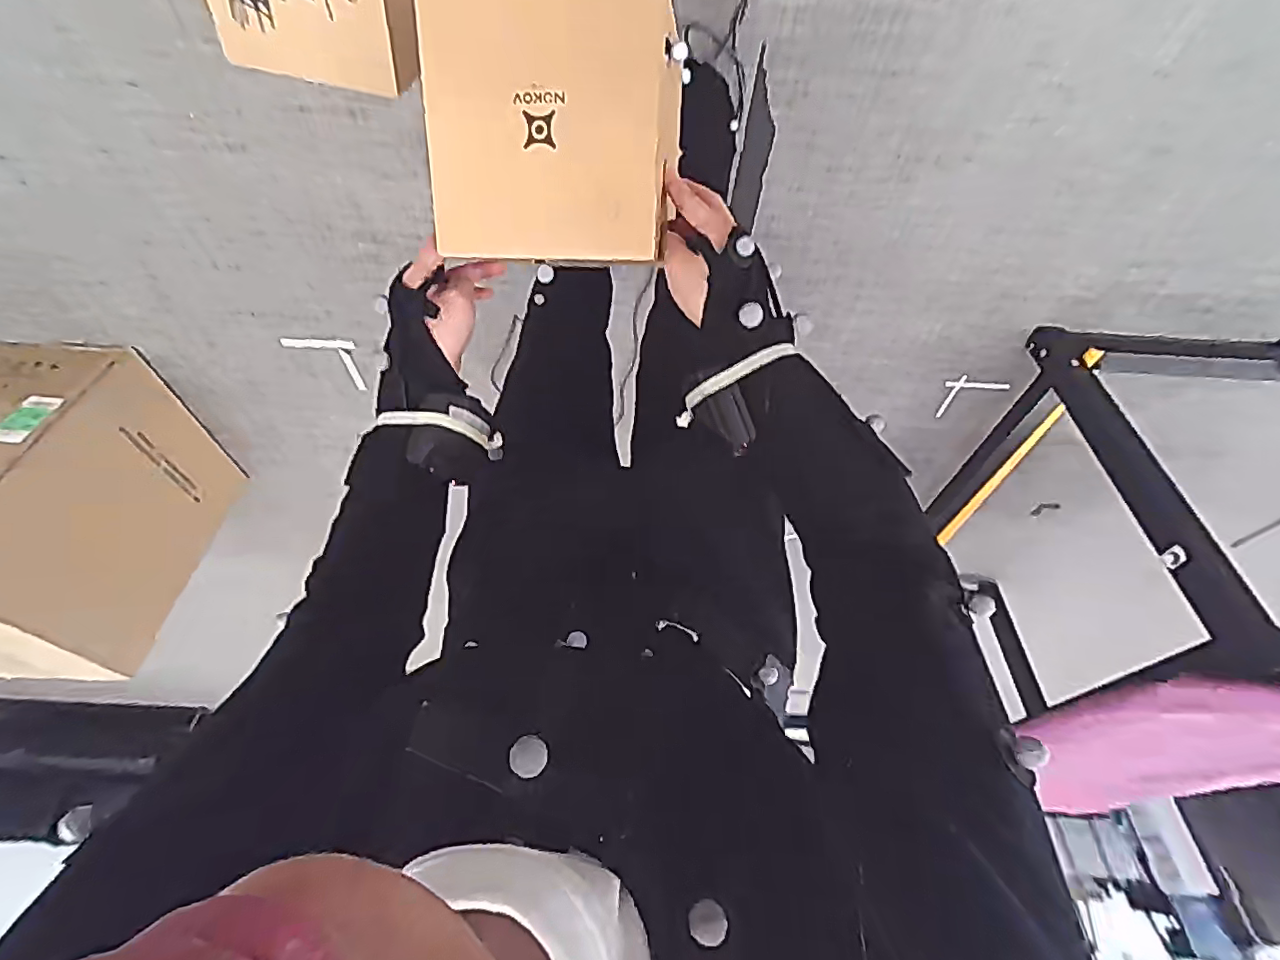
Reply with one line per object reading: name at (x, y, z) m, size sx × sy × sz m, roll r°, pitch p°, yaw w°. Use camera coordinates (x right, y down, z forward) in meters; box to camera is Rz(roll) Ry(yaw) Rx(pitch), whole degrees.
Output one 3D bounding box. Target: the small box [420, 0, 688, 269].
small box at (-0.051, -0.266, 0.429) m, size 0.168 × 0.176 × 0.179 m, roll 4°, pitch 107°, yaw 6°
